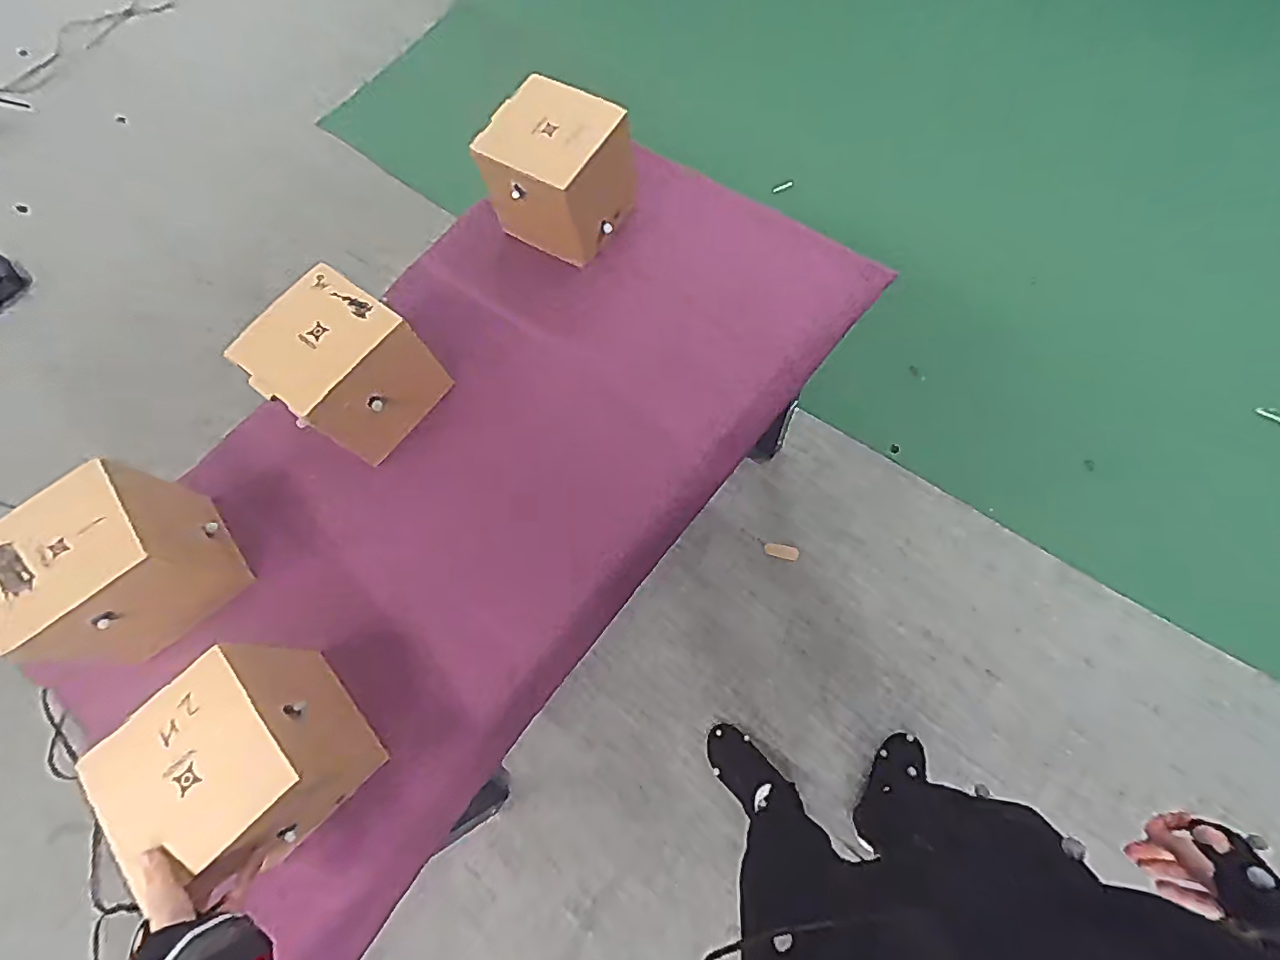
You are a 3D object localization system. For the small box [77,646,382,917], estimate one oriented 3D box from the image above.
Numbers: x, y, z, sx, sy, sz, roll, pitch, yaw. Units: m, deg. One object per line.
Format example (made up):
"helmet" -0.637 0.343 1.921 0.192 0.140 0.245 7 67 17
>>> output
"small box" -0.424 0.303 0.589 0.168 0.176 0.179 -43 72 -11

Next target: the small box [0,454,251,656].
"small box" -0.654 0.104 0.684 0.179 0.176 0.168 -39 72 -10

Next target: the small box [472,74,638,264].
"small box" -0.120 -0.474 0.844 0.179 0.176 0.168 31 77 14

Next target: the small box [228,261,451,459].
"small box" -0.402 -0.157 0.757 0.168 0.176 0.179 35 78 14
